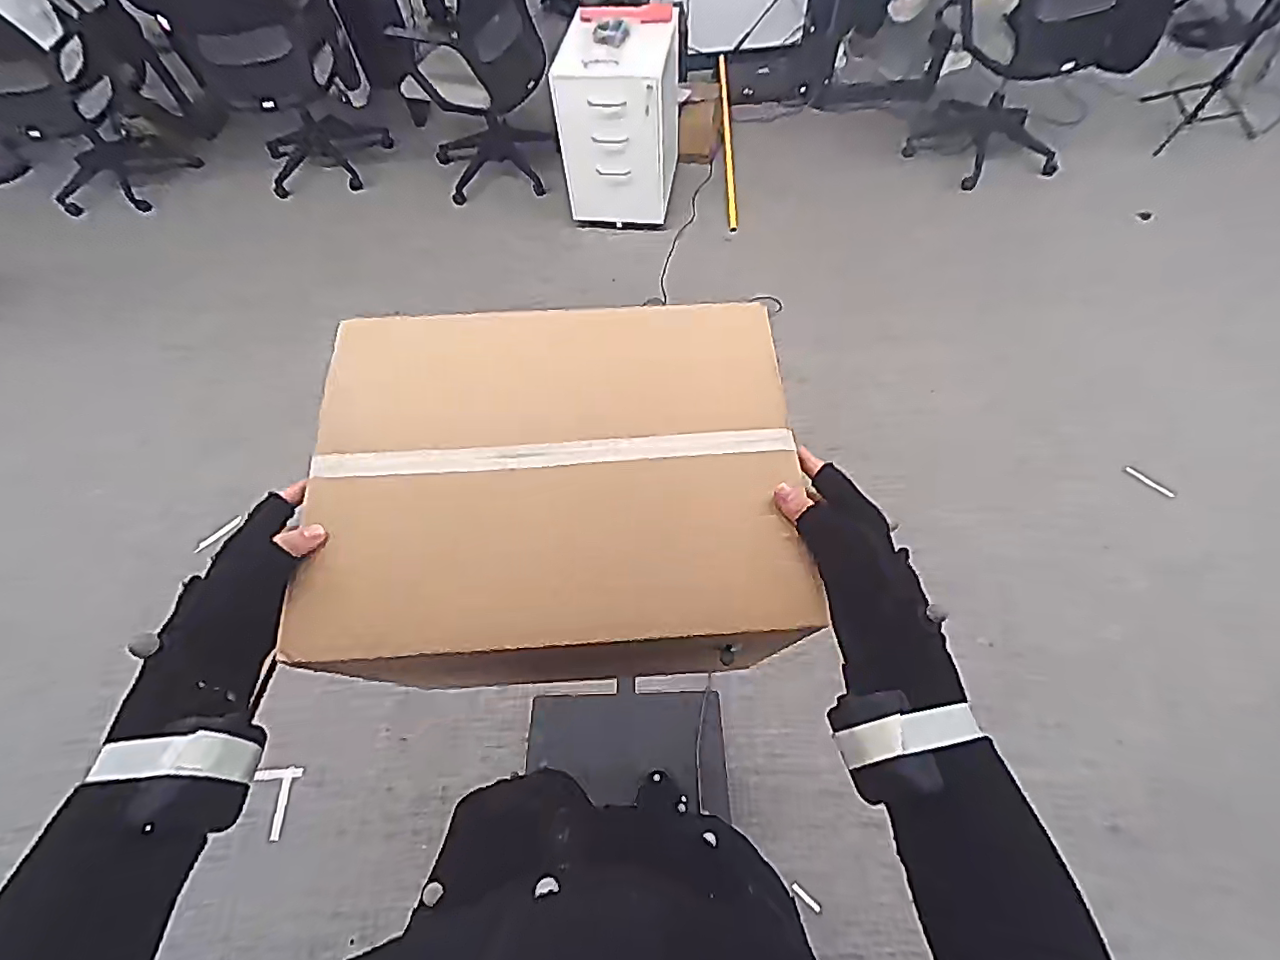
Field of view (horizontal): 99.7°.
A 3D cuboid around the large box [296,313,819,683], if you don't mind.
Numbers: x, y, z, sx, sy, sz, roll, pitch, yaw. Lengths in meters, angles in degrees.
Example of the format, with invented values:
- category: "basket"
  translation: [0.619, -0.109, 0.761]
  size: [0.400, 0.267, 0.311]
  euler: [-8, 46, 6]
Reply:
- category: "large box"
  translation: [-0.071, 0.044, 0.603]
  size: [0.408, 0.320, 0.320]
  euler: [-3, 65, -3]

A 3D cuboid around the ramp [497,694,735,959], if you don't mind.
- category: "ramp"
  translation: [-0.051, 0.957, 1.113]
  size: [0.509, 0.206, 0.991]
  euler: [-4, 60, 1]
